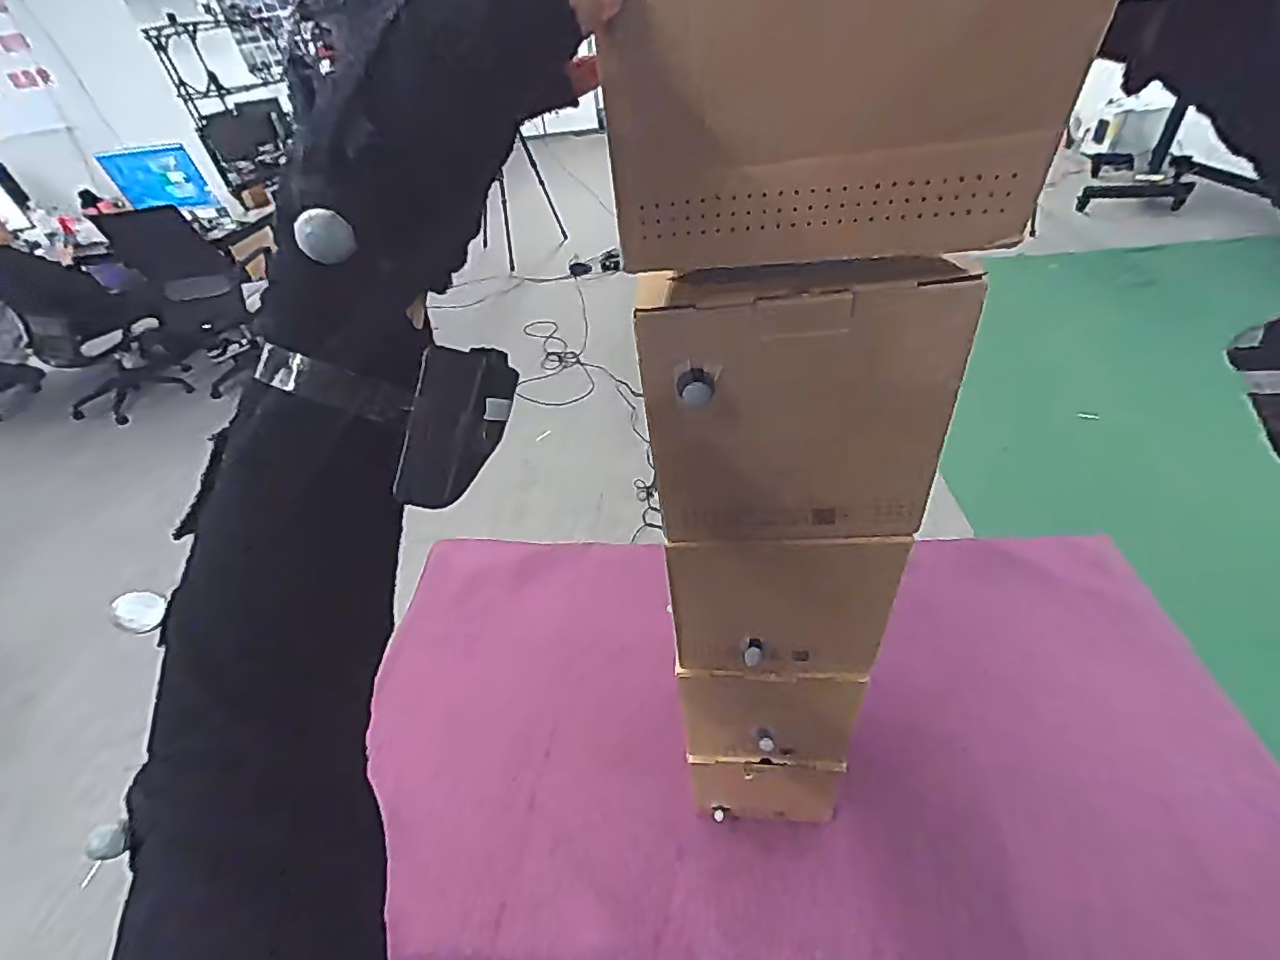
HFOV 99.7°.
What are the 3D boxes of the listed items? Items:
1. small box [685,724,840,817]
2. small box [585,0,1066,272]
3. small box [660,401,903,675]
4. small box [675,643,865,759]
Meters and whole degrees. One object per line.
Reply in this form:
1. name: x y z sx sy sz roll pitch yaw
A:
1. small box: 0.149 0.302 0.685 0.168 0.176 0.179 -1 41 9
2. small box: 0.070 -0.210 0.248 0.179 0.176 0.168 -1 47 6
3. small box: 0.112 0.048 0.482 0.168 0.176 0.179 -2 41 9
4. small box: 0.129 0.173 0.584 0.168 0.176 0.179 -2 41 9
